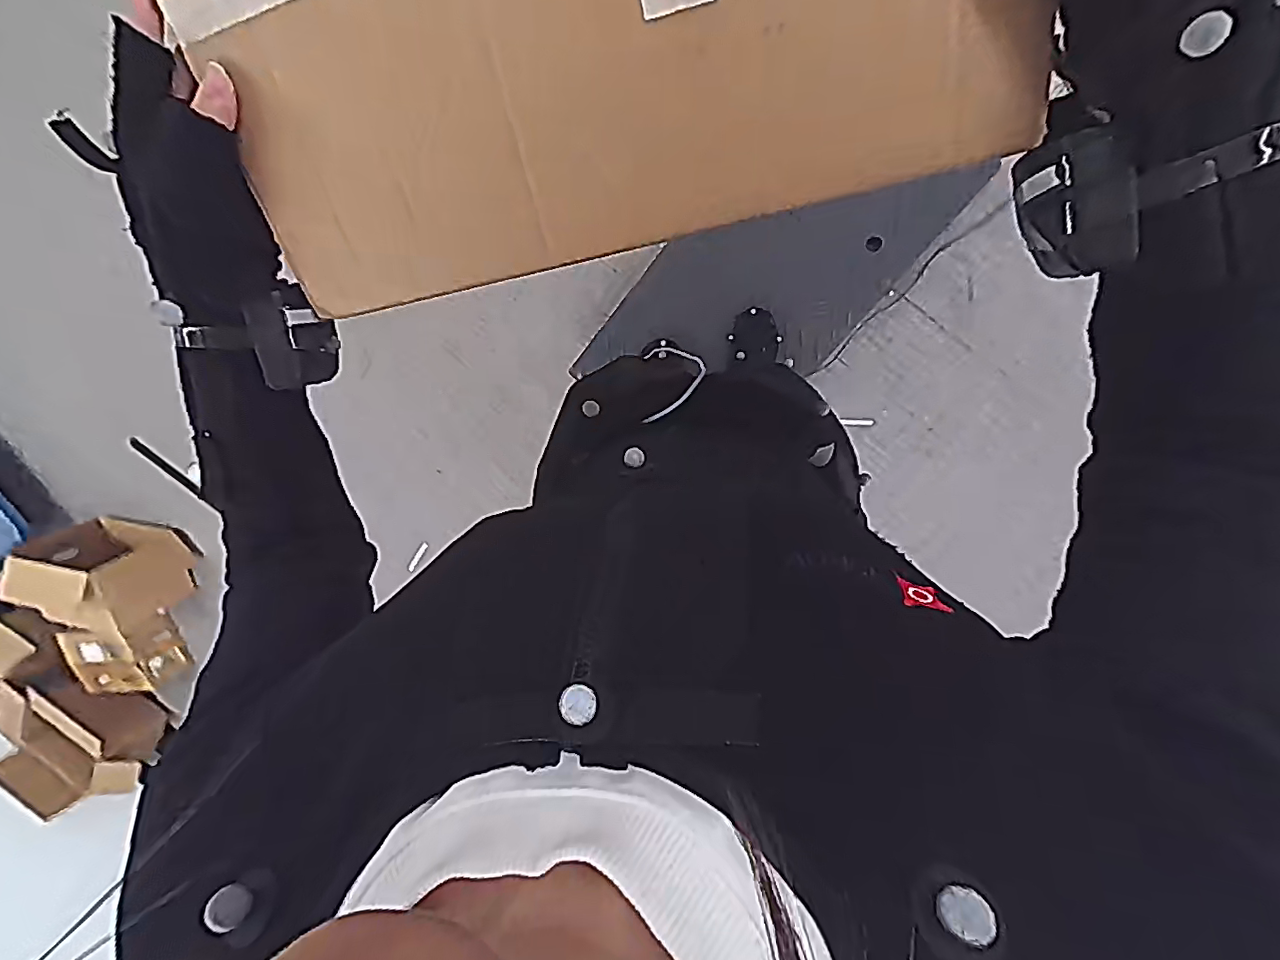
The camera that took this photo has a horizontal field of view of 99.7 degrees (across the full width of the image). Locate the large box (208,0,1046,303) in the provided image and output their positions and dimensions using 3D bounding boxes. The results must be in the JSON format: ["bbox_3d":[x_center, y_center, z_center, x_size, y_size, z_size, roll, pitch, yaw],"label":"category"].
[{"bbox_3d":[-0.015,-0.343,0.367,0.408,0.320,0.320,-7,118,15],"label":"large box"}]
